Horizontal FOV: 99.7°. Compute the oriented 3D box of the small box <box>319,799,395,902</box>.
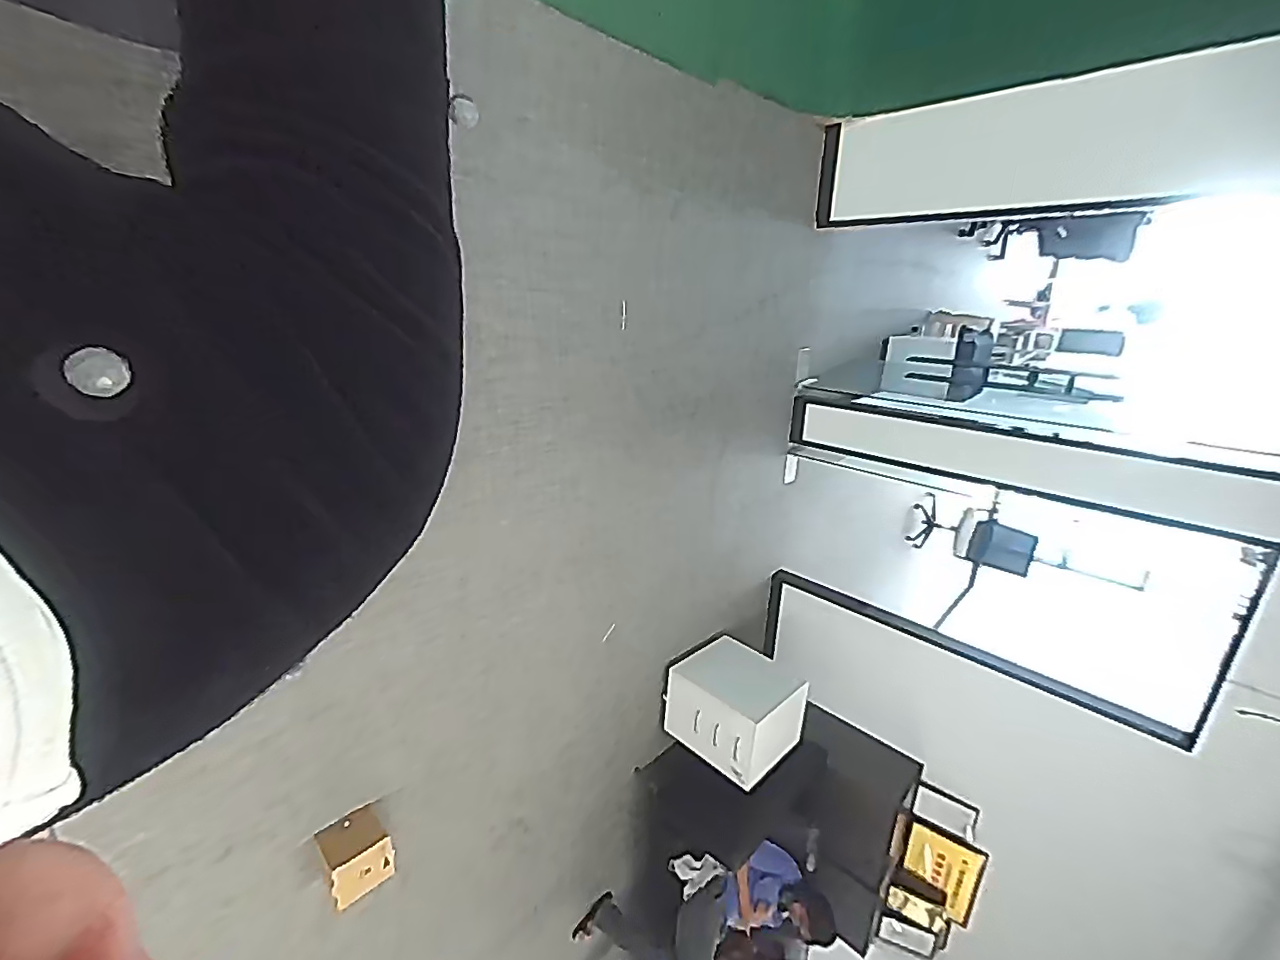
[{"bbox_3d":[-0.918,1.187,1.748,0.179,0.176,0.168,-15,116,-44],"label":"small box"}]
